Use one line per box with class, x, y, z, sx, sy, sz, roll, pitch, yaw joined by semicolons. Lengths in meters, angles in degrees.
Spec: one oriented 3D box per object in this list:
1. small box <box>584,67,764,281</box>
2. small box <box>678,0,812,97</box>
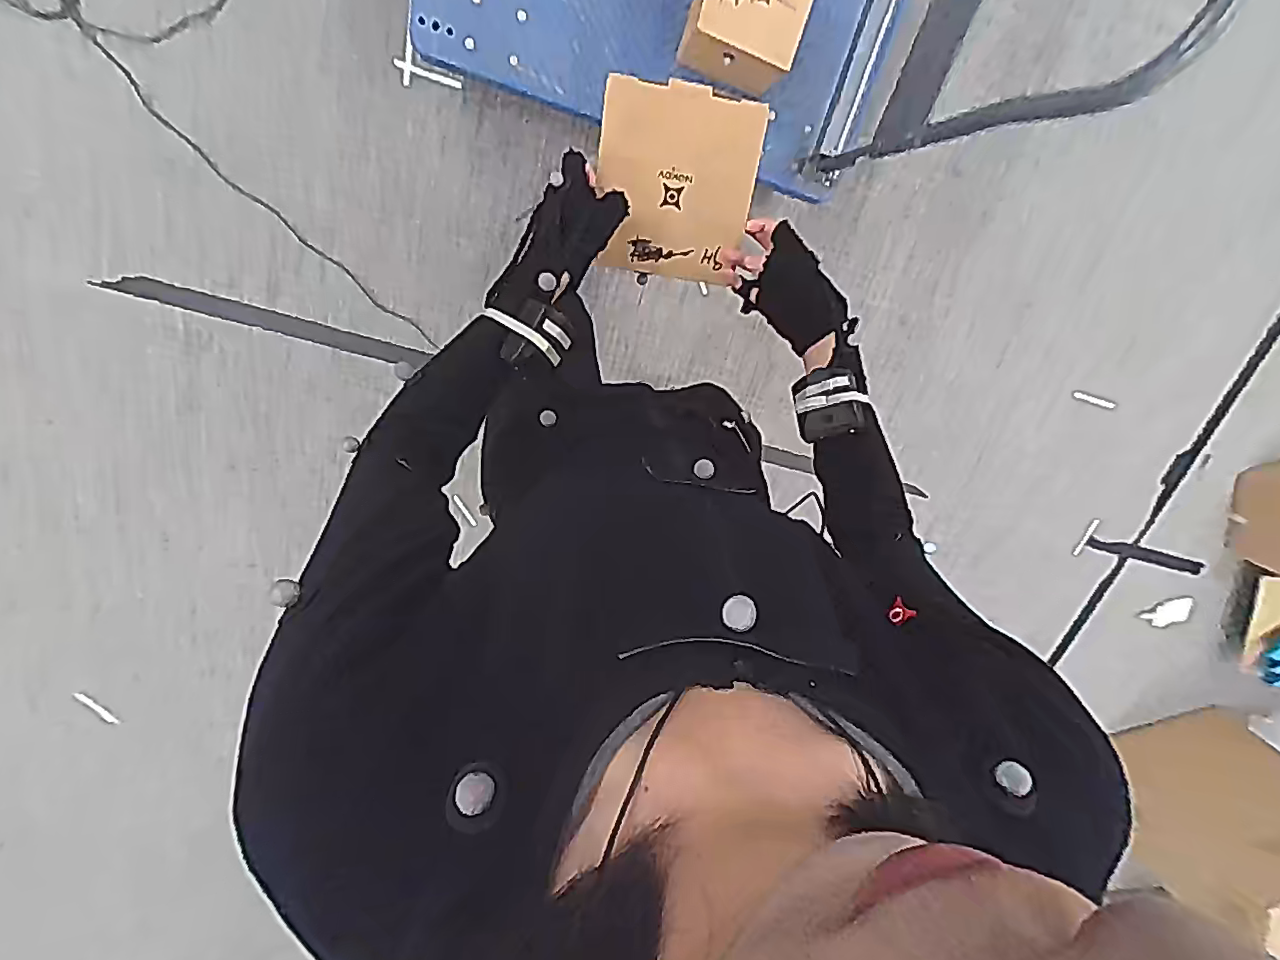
small box;0.028;-0.343;0.638;0.168;0.176;0.179;8;112;-6
small box;0.180;-0.805;0.944;0.179;0.176;0.168;15;110;-14
